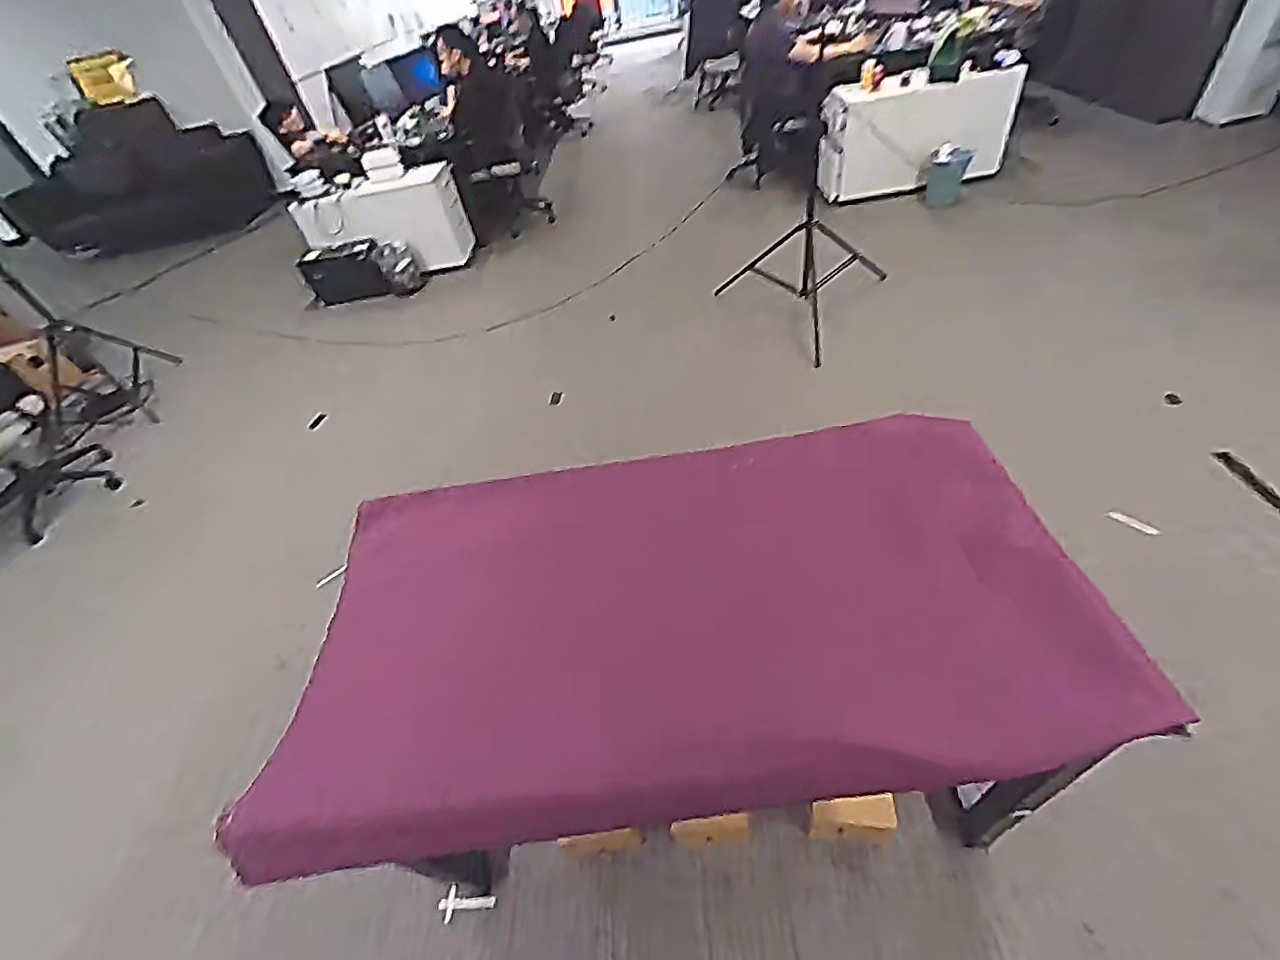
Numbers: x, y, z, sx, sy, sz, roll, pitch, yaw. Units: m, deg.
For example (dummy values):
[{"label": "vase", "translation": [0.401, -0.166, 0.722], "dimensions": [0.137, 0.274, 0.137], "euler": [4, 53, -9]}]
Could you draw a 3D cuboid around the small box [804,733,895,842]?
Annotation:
[{"label": "small box", "translation": [0.468, 0.700, 1.229], "dimensions": [0.168, 0.176, 0.179], "euler": [-2, 45, 12]}]

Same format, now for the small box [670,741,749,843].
[{"label": "small box", "translation": [0.163, 0.732, 1.263], "dimensions": [0.168, 0.176, 0.179], "euler": [-6, 44, 6]}]
